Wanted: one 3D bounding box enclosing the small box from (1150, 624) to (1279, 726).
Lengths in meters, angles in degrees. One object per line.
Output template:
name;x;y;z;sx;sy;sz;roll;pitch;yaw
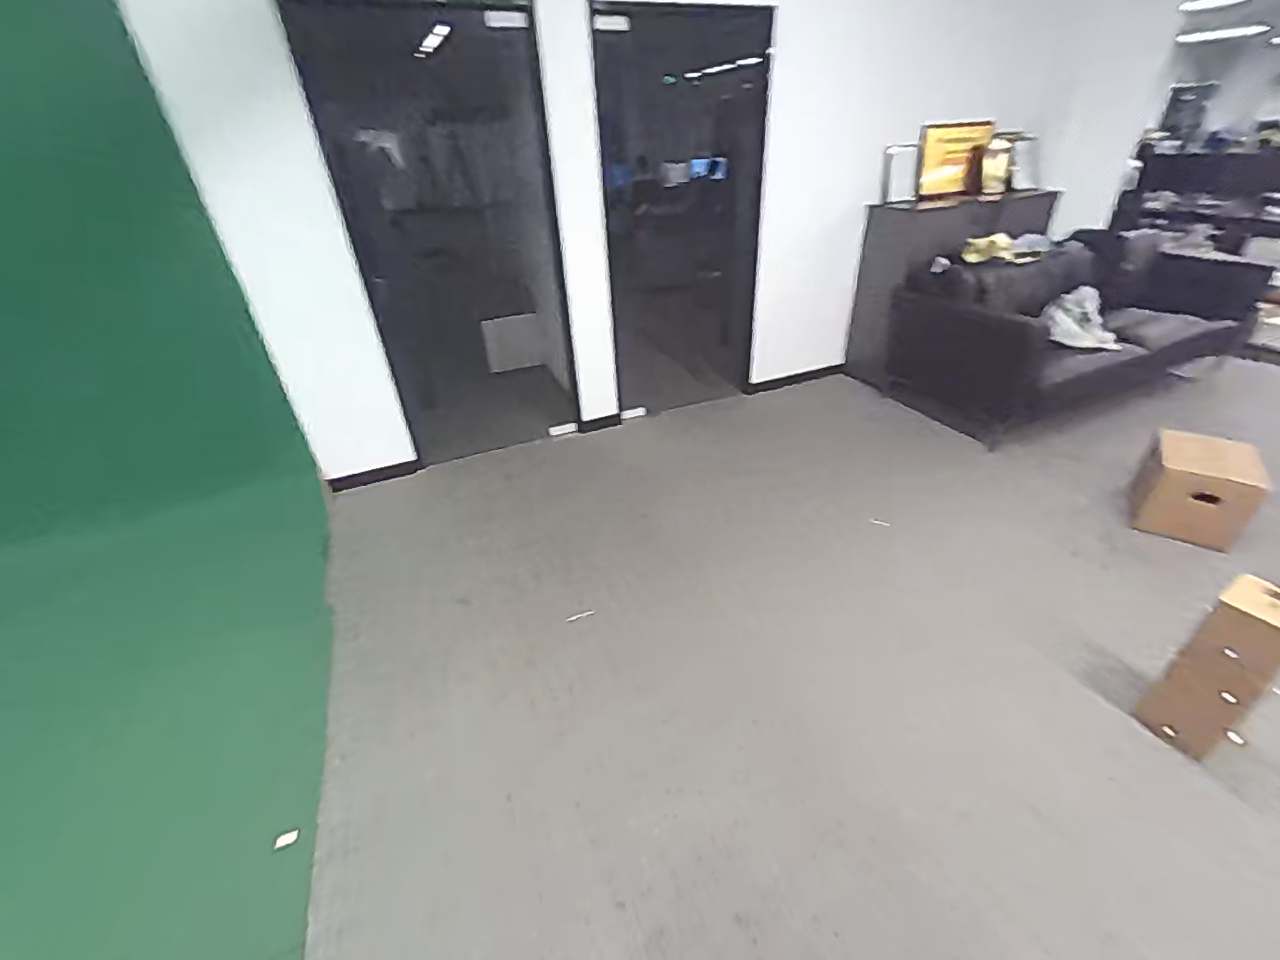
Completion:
small box;1.552;0.530;1.459;0.168;0.176;0.179;-17;33;-23

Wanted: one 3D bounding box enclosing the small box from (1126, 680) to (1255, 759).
small box;1.568;0.664;1.550;0.168;0.176;0.179;-16;35;-20
